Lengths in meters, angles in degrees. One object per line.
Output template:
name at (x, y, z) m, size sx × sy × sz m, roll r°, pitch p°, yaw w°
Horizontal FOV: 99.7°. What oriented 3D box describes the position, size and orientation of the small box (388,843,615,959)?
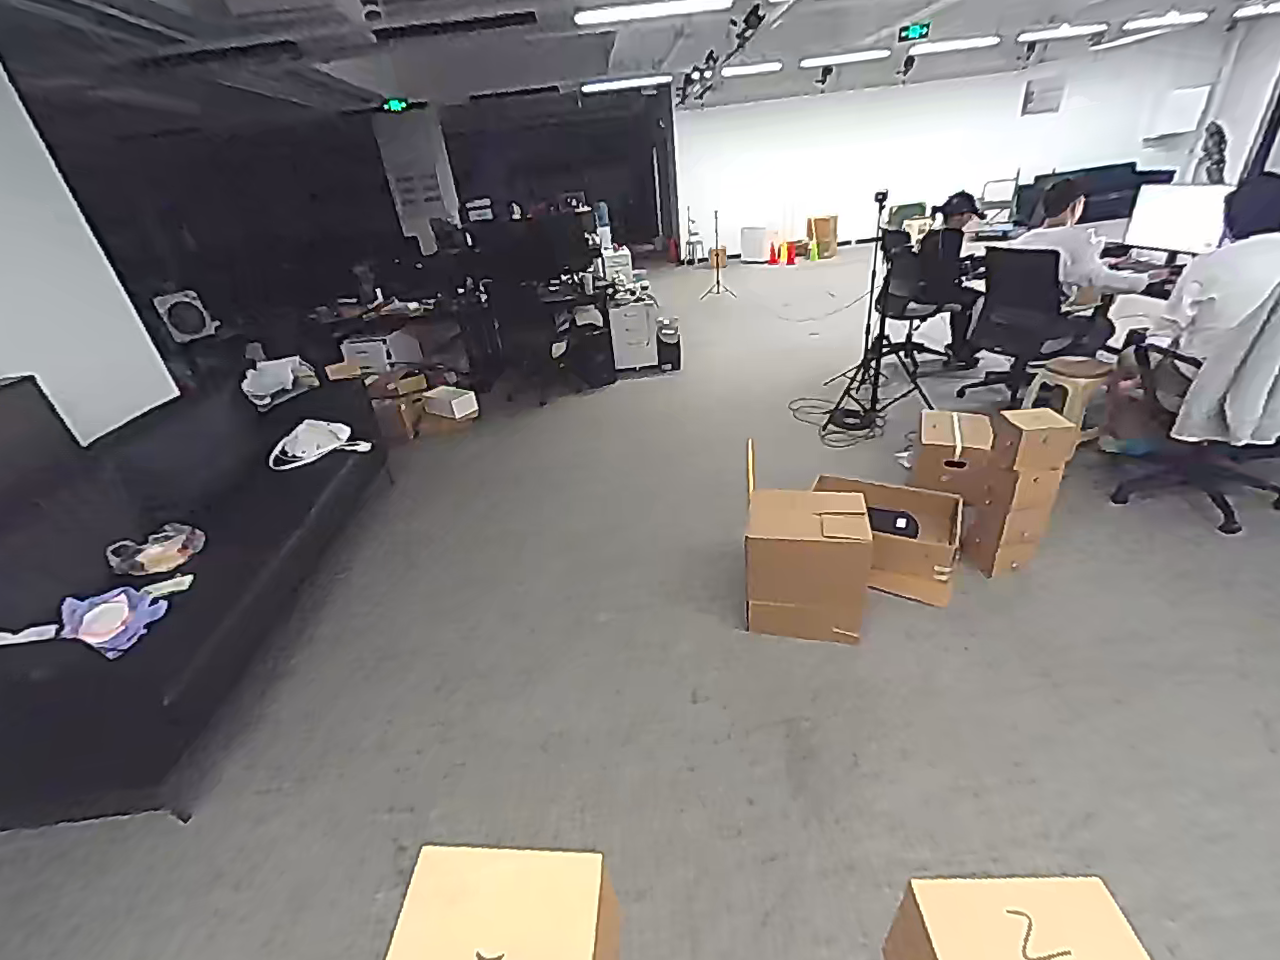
small box at (-0.113, 0.442, 0.461) m, size 0.168 × 0.176 × 0.179 m, roll 0°, pitch 40°, yaw 4°
